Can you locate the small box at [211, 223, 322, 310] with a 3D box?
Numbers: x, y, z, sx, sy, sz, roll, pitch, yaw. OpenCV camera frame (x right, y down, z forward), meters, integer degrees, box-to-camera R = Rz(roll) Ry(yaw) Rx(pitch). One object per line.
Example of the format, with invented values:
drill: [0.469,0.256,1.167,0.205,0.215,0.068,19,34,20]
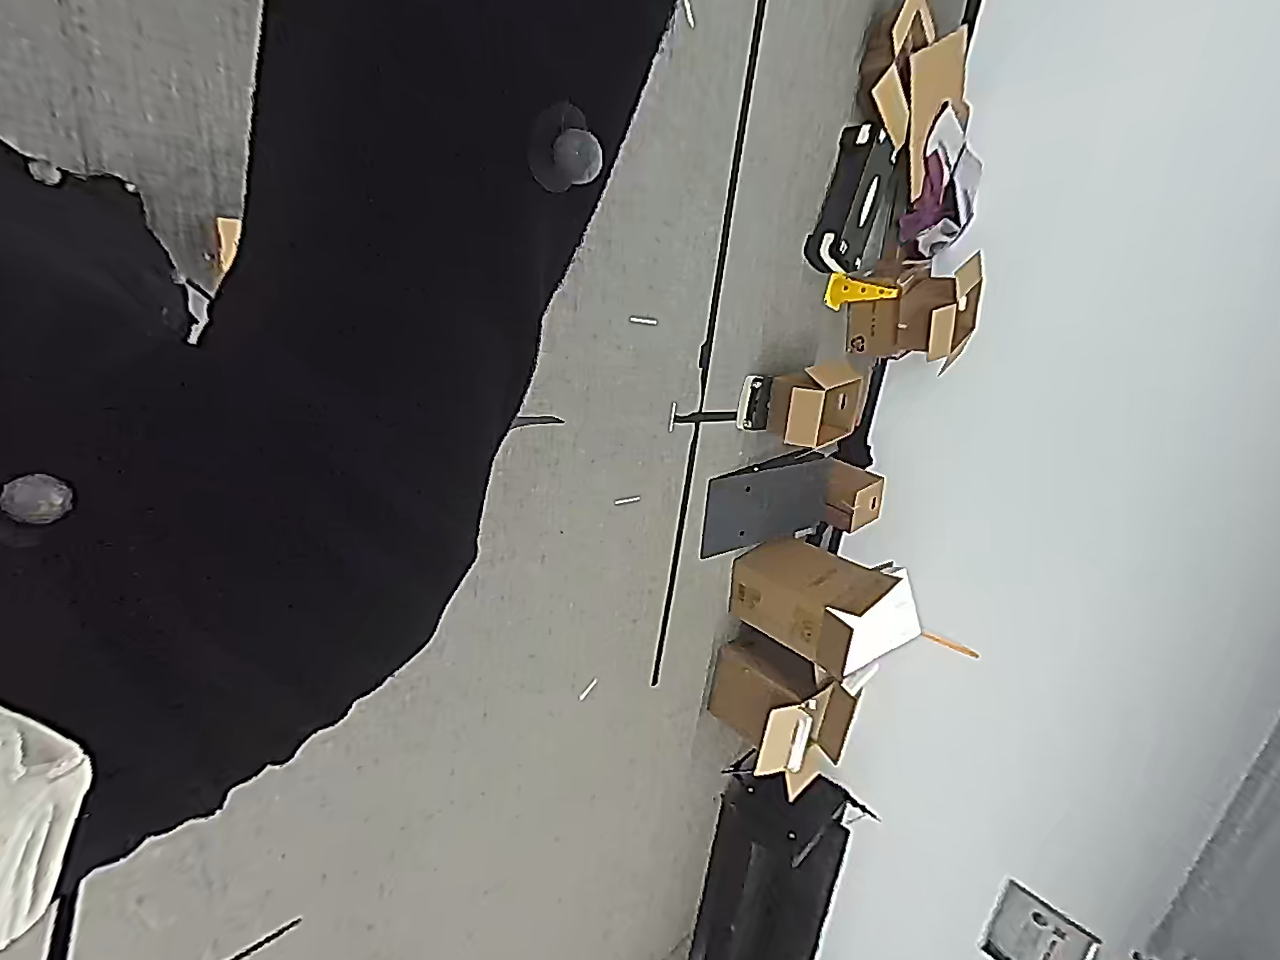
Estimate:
small box: [-0.863,-0.493,1.251,0.179,0.176,0.168,-11,115,-42]
